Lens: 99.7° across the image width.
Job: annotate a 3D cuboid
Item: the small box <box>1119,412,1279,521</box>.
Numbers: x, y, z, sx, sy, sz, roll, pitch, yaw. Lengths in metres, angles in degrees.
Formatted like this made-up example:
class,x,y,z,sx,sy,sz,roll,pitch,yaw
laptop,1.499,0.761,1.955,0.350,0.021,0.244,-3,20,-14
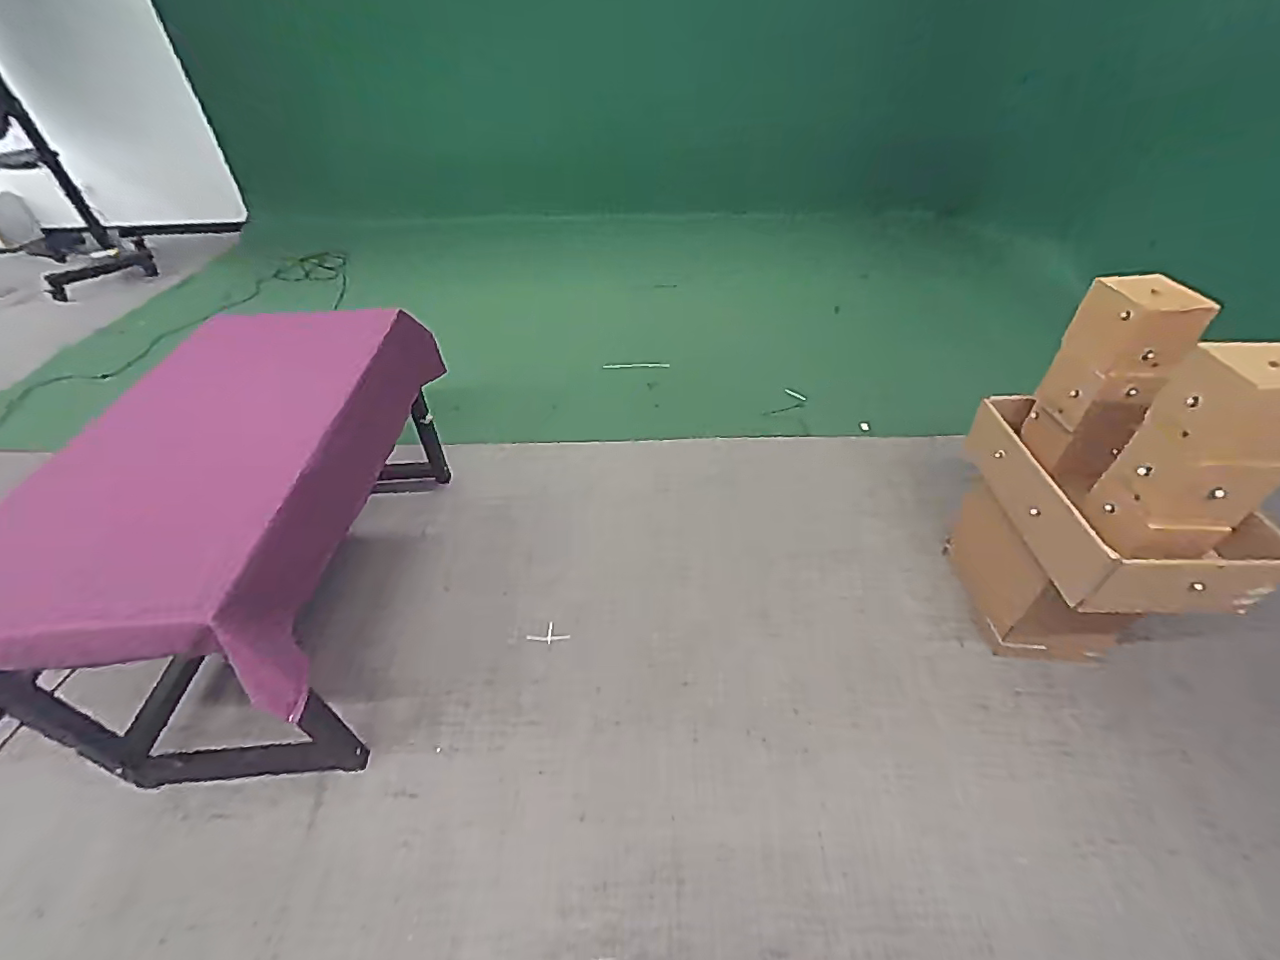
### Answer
class,x,y,z,sx,sy,sz,roll,pitch,yaw
small box,1.165,-0.027,1.133,0.179,0.176,0.168,1,43,4

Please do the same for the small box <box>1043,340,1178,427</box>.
class,x,y,z,sx,sy,sz,roll,pitch,yaw
small box,1.174,-0.246,1.373,0.179,0.176,0.168,-3,43,-1

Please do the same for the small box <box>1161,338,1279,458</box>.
class,x,y,z,sx,sy,sz,roll,pitch,yaw
small box,1.158,-0.154,1.026,0.179,0.176,0.168,2,43,4

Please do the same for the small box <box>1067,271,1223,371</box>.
class,x,y,z,sx,sy,sz,roll,pitch,yaw
small box,1.169,-0.375,1.274,0.168,0.176,0.179,-4,44,-2
